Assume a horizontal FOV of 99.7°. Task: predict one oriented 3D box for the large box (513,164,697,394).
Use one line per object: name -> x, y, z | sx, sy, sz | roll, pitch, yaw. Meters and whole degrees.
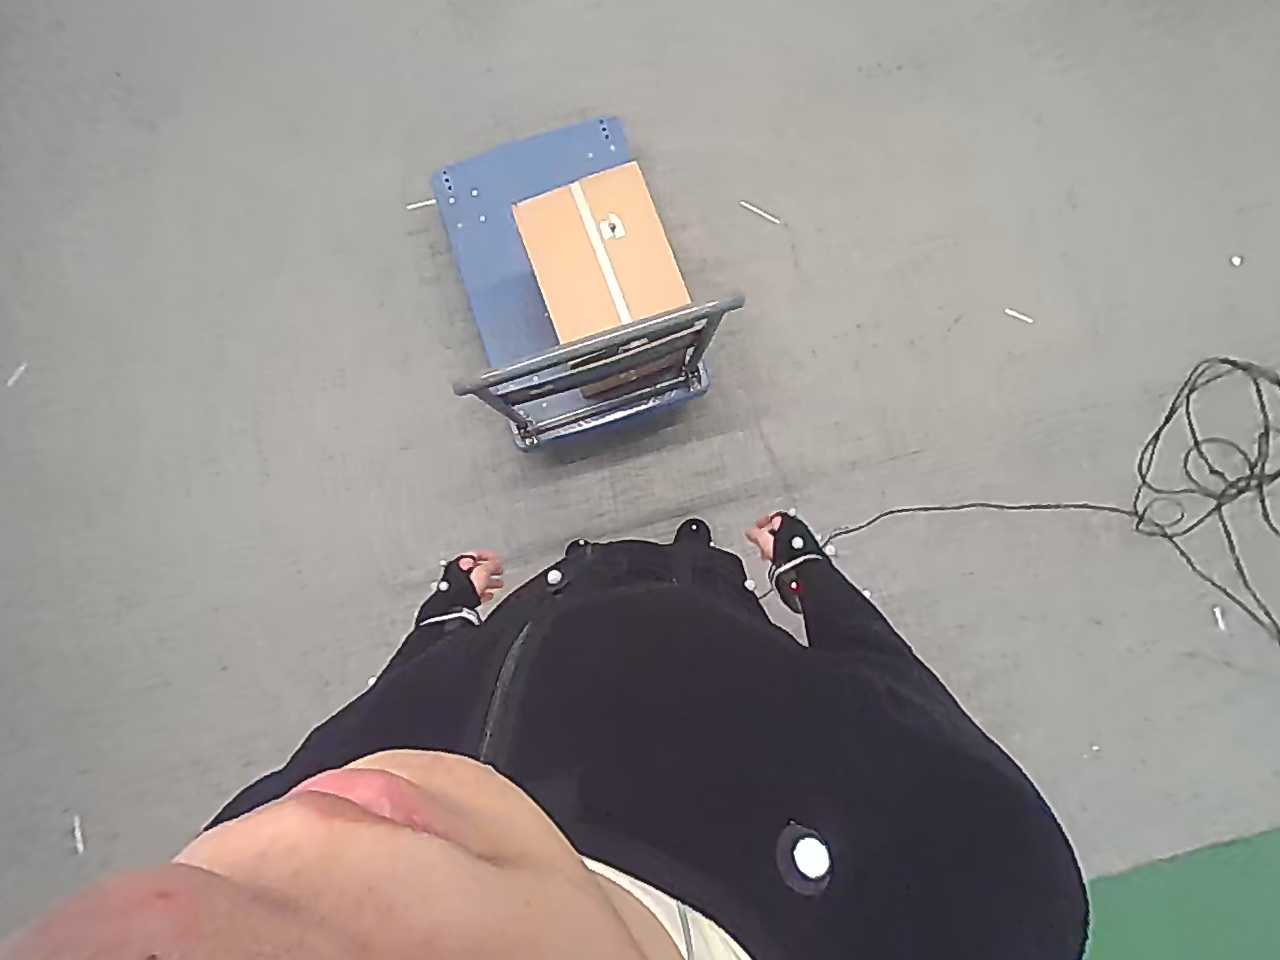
large box -> -0.079, -0.486, 1.382 | 0.320, 0.320, 0.408 | -20, 85, -2
